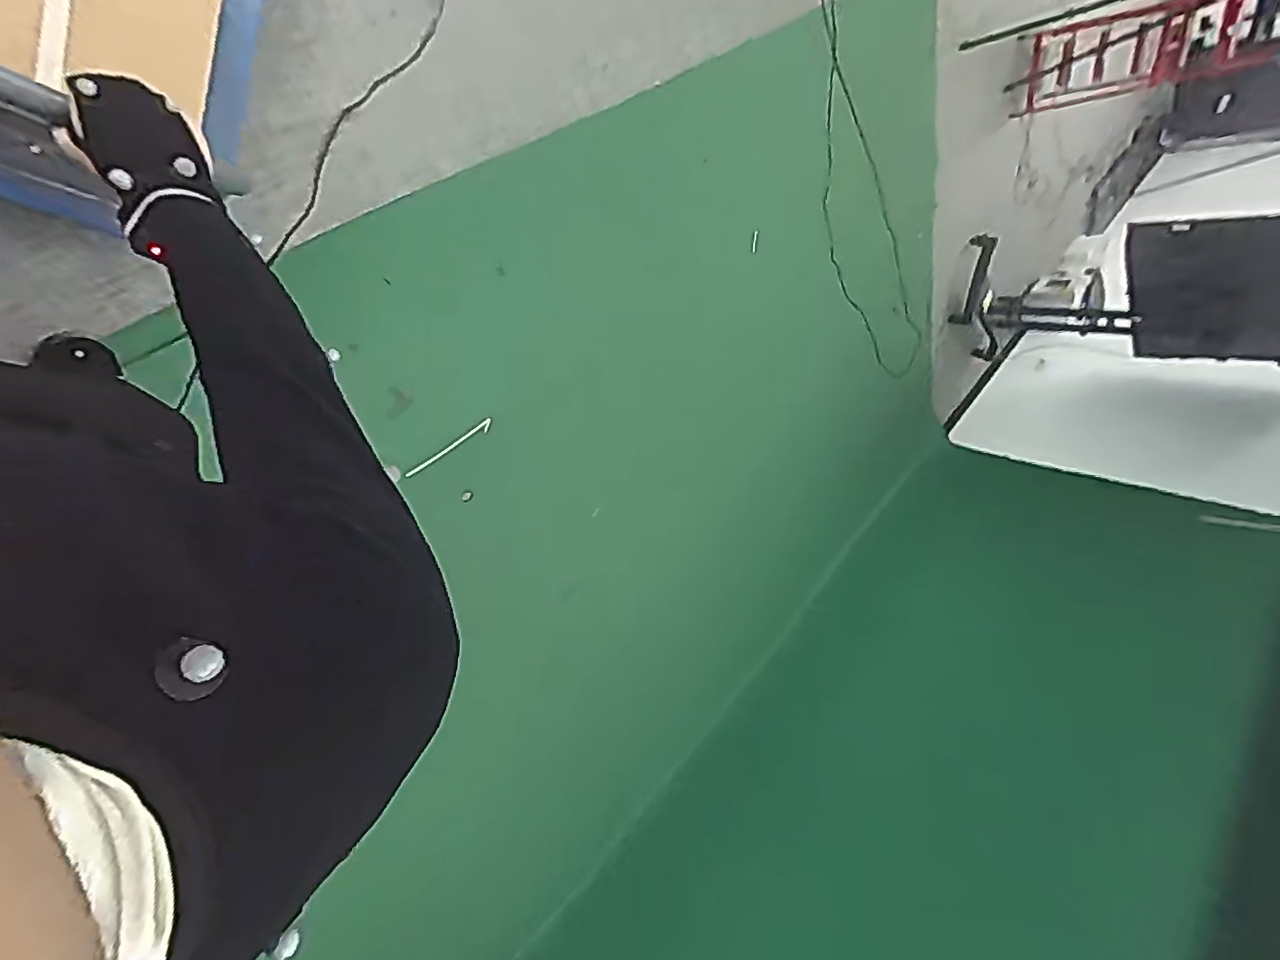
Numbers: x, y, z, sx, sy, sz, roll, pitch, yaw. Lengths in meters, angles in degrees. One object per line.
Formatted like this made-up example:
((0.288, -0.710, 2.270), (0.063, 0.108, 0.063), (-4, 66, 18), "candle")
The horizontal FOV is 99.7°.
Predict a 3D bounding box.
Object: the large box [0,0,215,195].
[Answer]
((-0.855, -0.710, 0.805), (0.320, 0.320, 0.408), (8, 99, -46), "large box")
